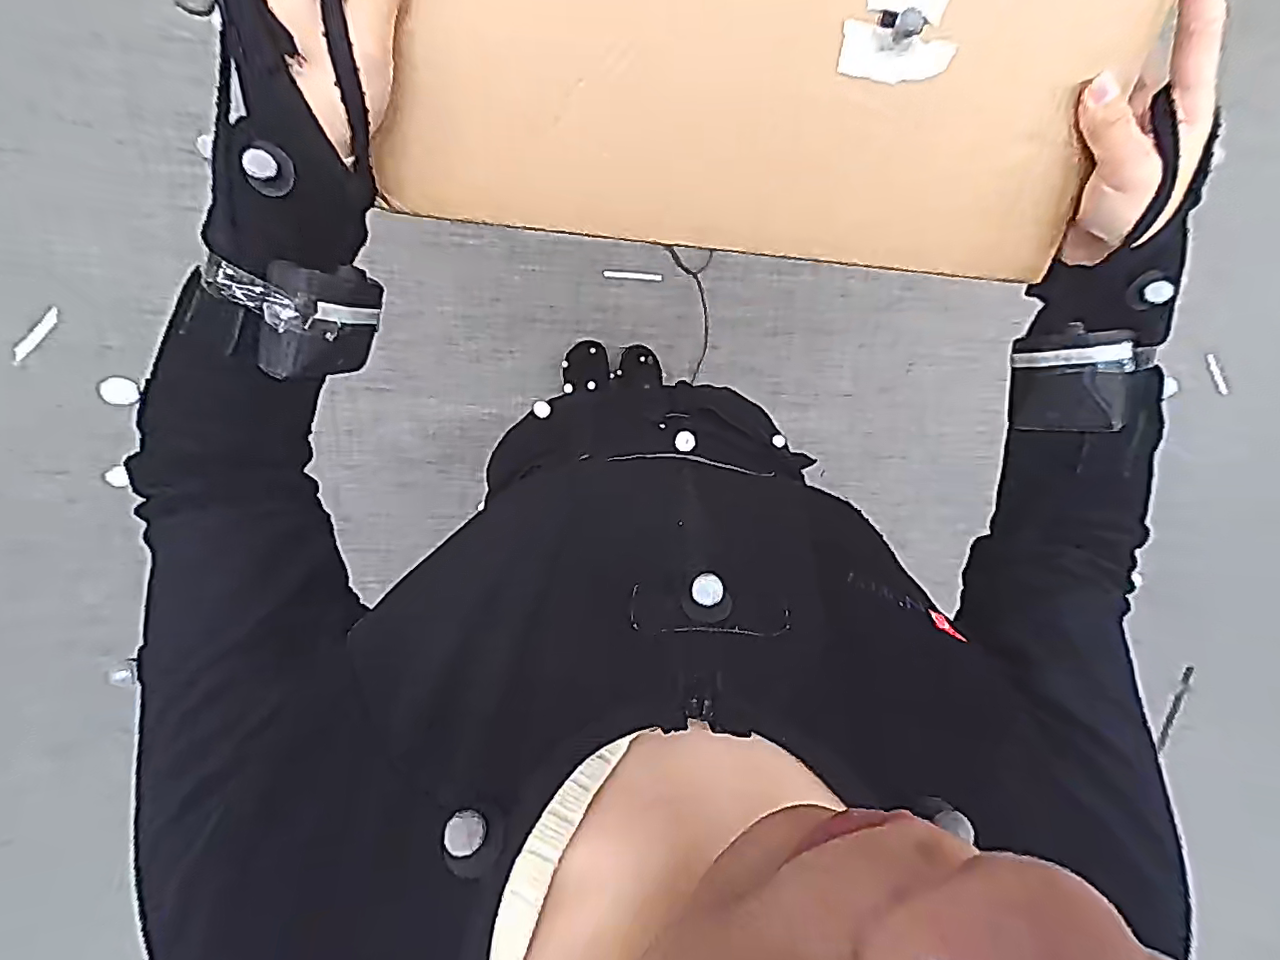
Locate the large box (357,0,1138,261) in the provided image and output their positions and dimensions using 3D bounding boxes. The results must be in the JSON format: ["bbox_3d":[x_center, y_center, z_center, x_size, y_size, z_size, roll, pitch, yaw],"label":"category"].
[{"bbox_3d":[0.052,-0.355,0.377,0.408,0.320,0.320,3,122,-7],"label":"large box"}]
